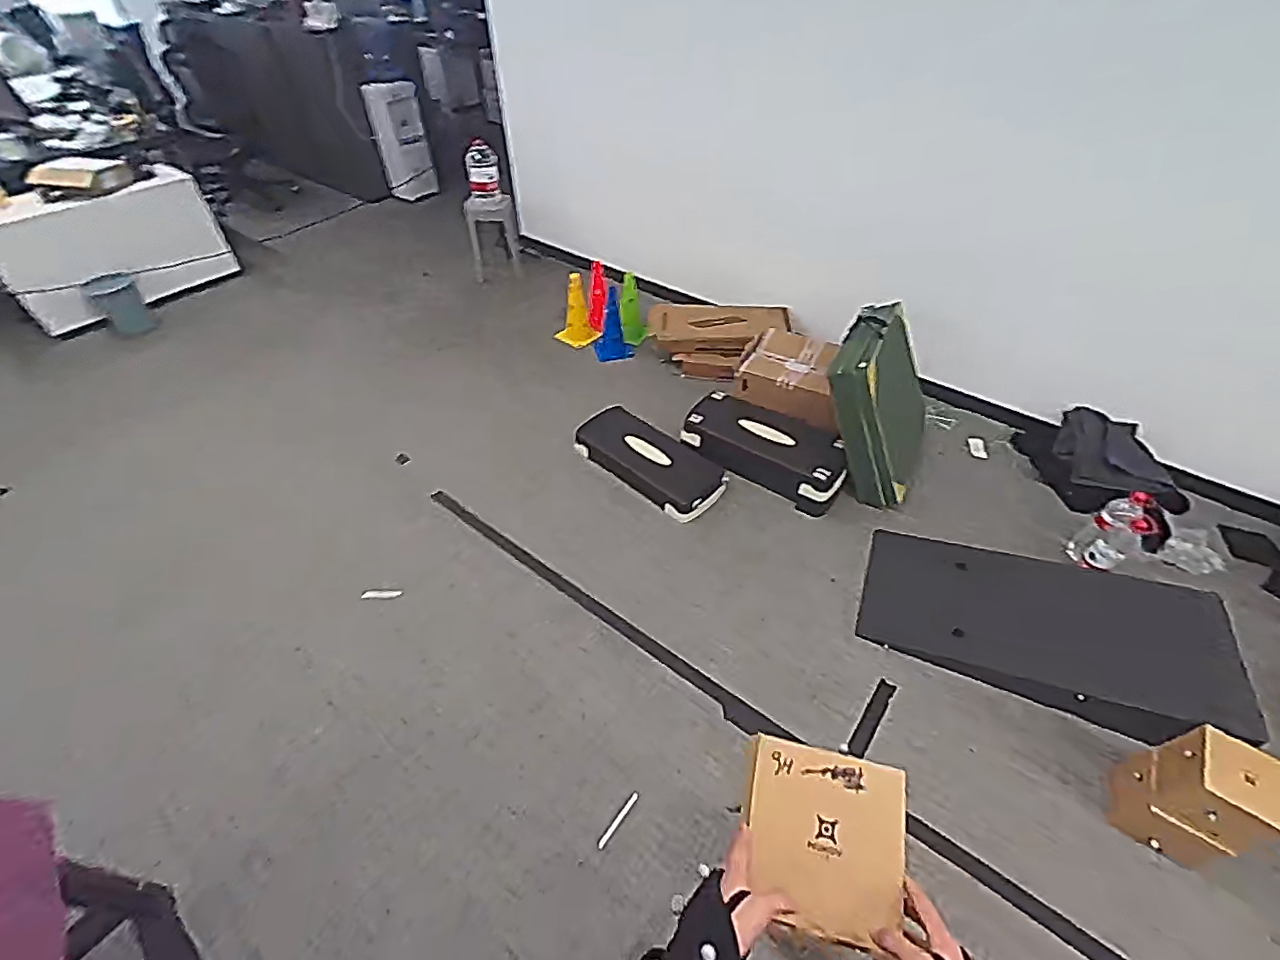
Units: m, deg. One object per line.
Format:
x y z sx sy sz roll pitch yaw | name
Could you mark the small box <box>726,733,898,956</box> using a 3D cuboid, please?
0.201 0.425 0.663 0.168 0.176 0.179 10 65 9 | small box
